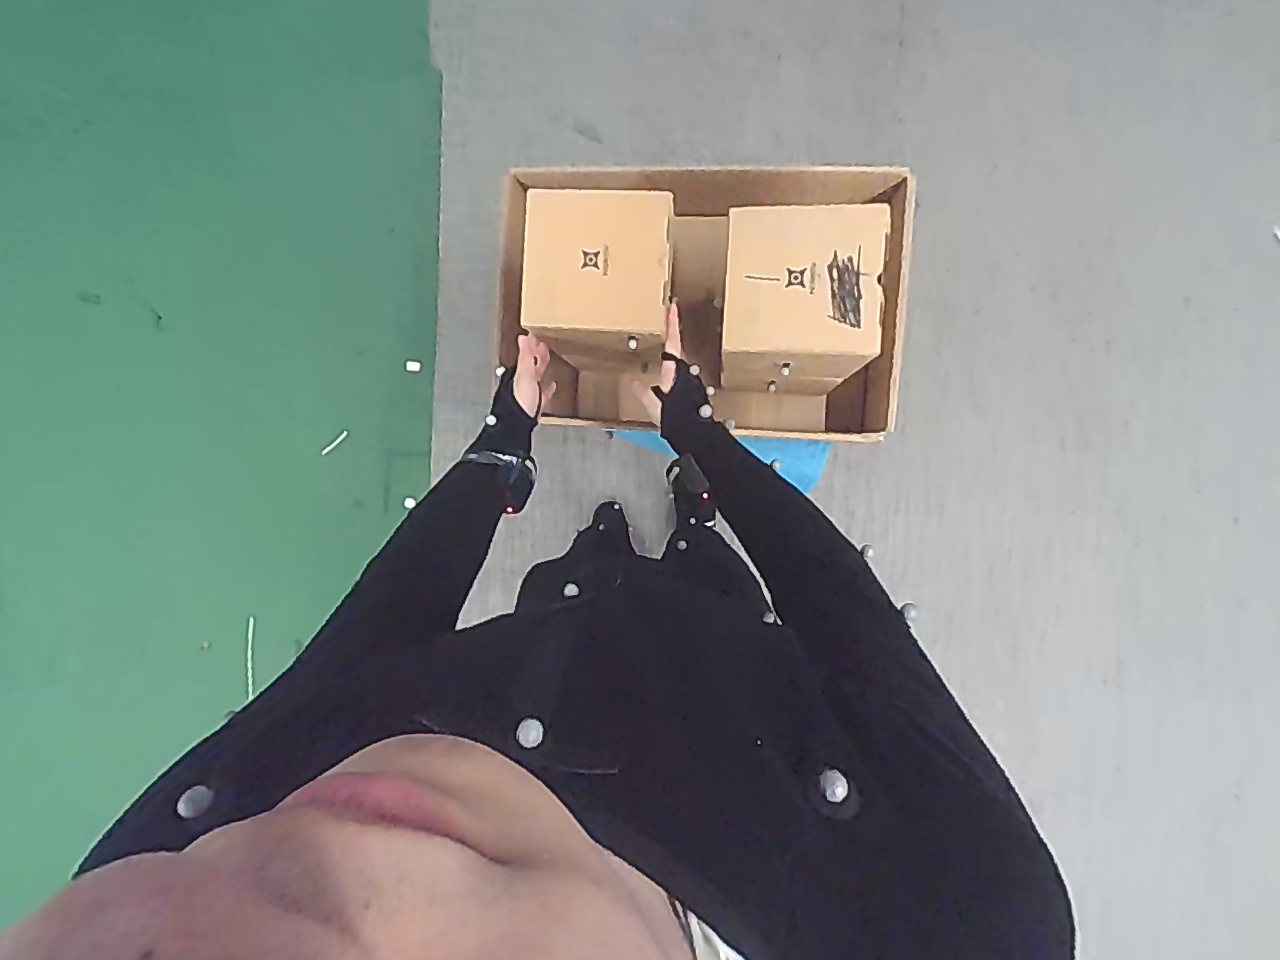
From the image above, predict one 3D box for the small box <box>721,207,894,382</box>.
[{"bbox_3d":[0.196,-0.220,0.677,0.179,0.176,0.168,4,91,10],"label":"small box"}]
